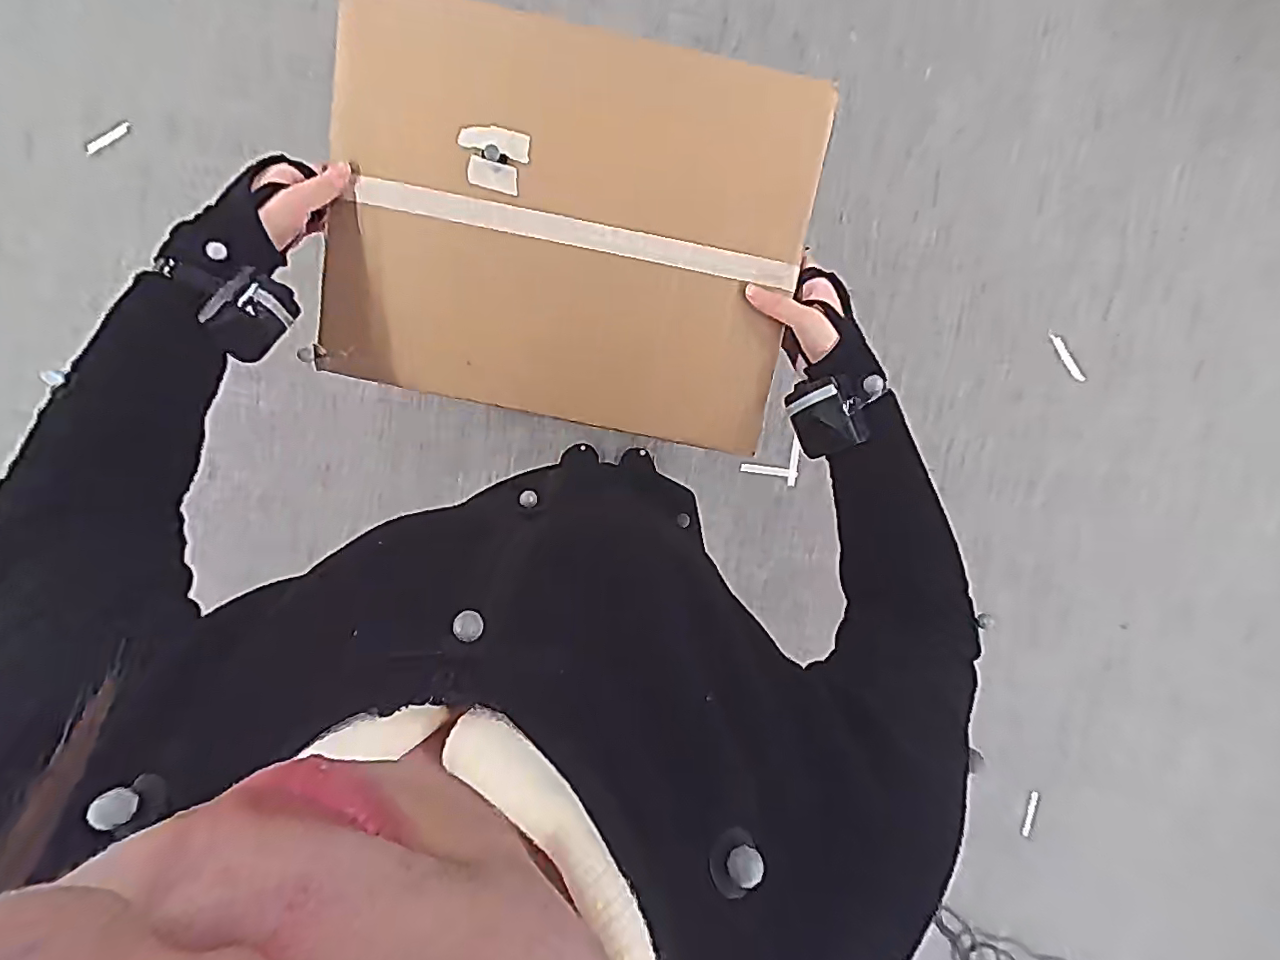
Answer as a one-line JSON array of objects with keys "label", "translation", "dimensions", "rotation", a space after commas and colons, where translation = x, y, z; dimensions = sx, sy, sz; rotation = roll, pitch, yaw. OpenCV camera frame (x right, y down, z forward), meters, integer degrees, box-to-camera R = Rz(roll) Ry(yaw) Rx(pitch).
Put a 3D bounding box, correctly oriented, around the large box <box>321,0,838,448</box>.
[{"label": "large box", "translation": [-0.058, -0.240, 0.600], "dimensions": [0.408, 0.320, 0.320], "rotation": [12, 101, -1]}]
